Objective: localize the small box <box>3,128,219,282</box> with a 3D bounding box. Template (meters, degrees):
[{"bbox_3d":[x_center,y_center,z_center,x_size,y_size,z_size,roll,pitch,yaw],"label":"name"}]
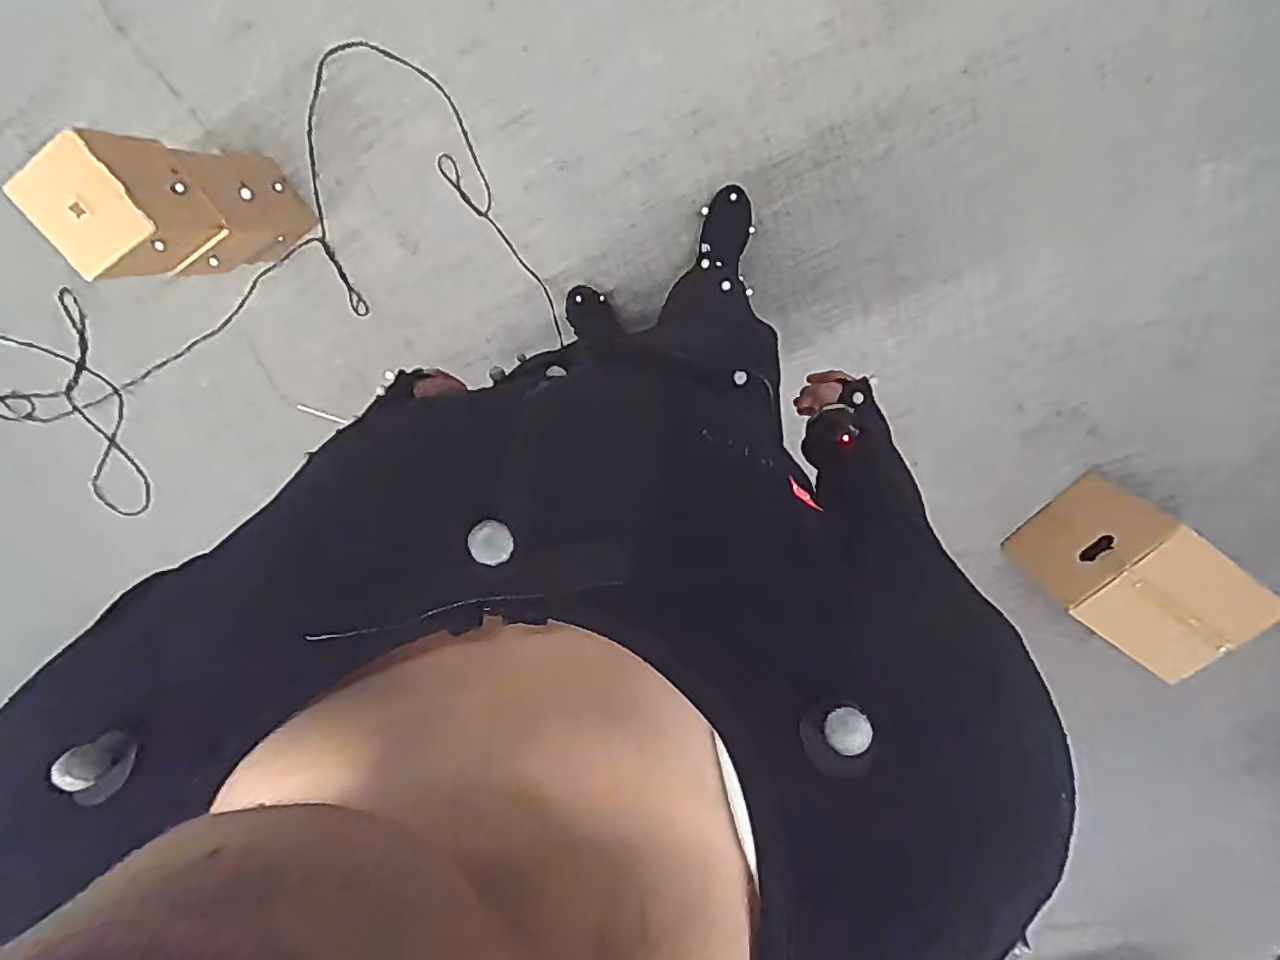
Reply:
[{"bbox_3d":[-0.901,-0.468,0.942,0.179,0.176,0.168,-27,111,14],"label":"small box"}]

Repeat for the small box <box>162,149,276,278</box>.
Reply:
[{"bbox_3d":[-0.895,-0.530,1.092,0.179,0.176,0.168,-26,112,13],"label":"small box"}]

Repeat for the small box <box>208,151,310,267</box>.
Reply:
[{"bbox_3d":[-0.899,-0.612,1.234,0.179,0.176,0.168,-29,110,16],"label":"small box"}]
